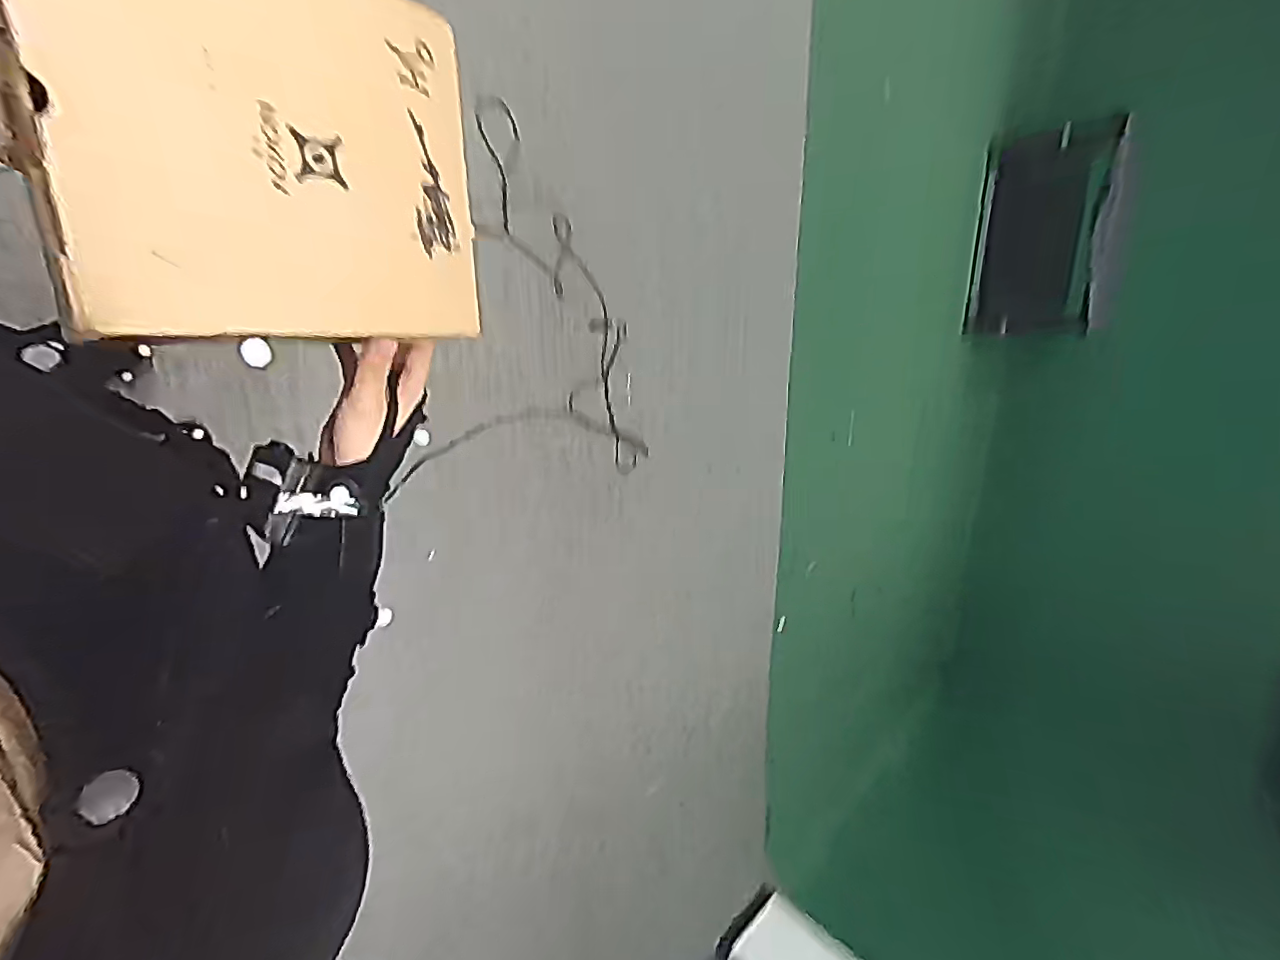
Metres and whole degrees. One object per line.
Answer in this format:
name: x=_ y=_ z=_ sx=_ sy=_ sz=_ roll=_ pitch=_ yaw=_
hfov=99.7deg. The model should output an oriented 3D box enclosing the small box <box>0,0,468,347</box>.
small box: x=-0.227 y=-0.165 z=0.315 sx=0.179 sy=0.176 sz=0.168 roll=-15 pitch=109 yaw=-44
